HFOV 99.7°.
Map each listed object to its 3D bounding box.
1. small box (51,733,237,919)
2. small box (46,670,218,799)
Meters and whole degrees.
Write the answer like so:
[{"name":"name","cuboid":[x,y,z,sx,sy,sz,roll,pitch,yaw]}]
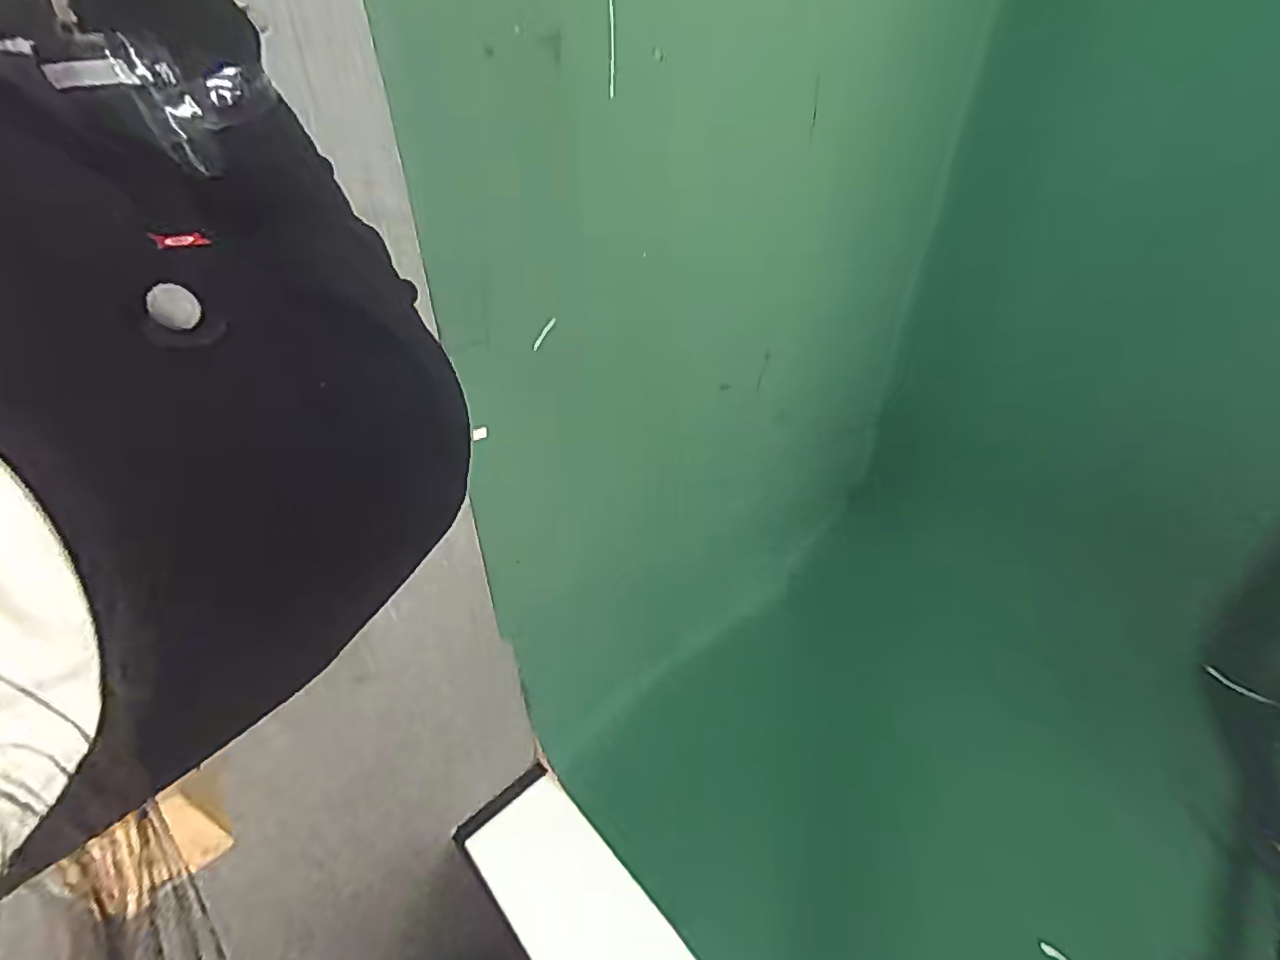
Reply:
[{"name":"small box","cuboid":[-0.818,0.558,0.896,0.168,0.176,0.179,-32,132,-32]},{"name":"small box","cuboid":[-0.929,0.491,0.995,0.179,0.176,0.168,-30,132,-31]}]
